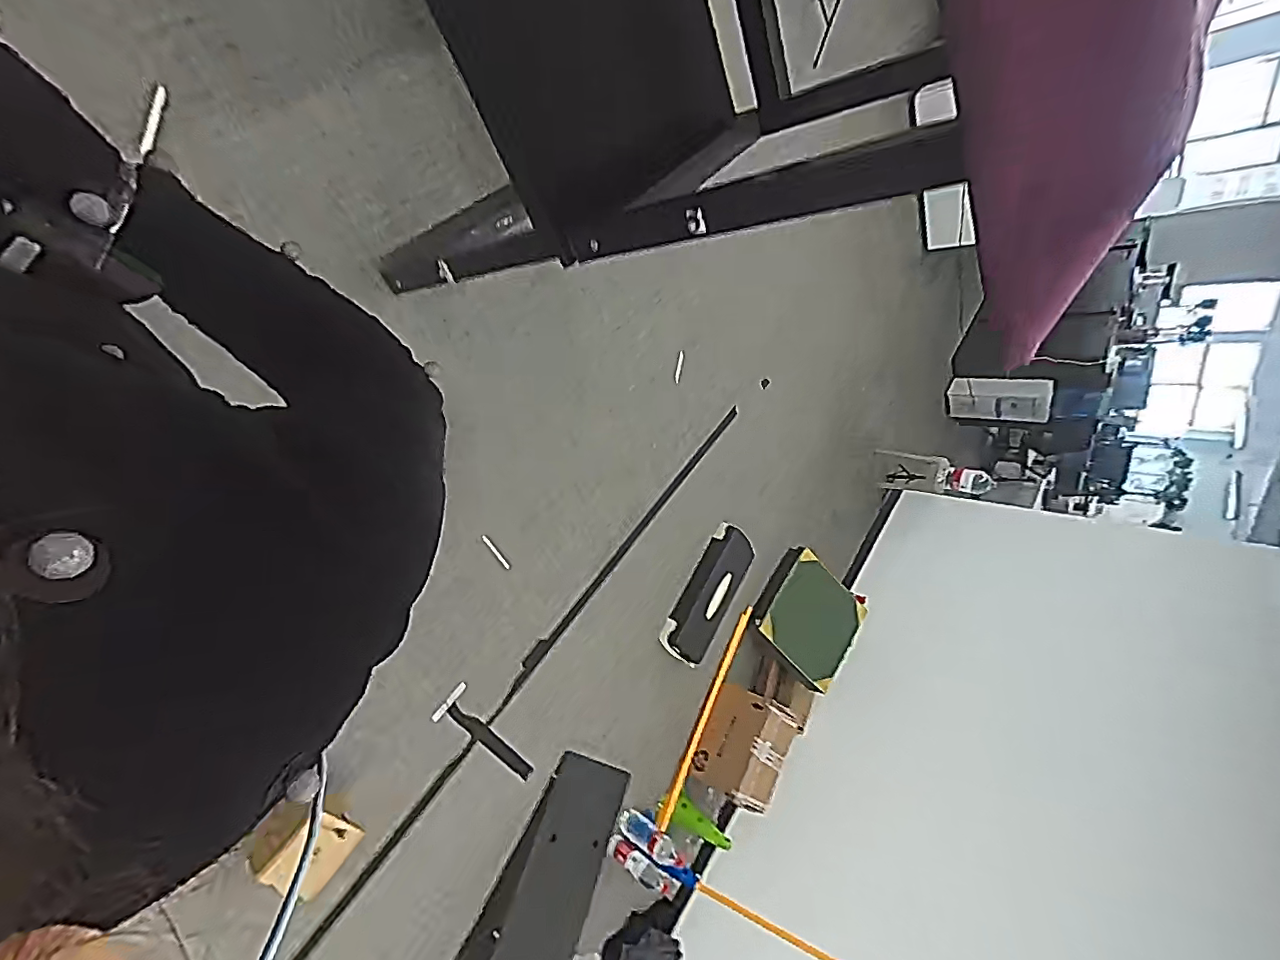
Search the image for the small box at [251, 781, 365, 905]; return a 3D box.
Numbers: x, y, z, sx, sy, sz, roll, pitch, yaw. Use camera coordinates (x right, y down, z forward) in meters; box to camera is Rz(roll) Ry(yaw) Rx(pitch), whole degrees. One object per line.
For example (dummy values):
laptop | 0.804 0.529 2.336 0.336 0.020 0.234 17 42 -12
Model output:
small box | -0.849 0.916 1.375 0.179 0.176 0.168 -49 130 -27
